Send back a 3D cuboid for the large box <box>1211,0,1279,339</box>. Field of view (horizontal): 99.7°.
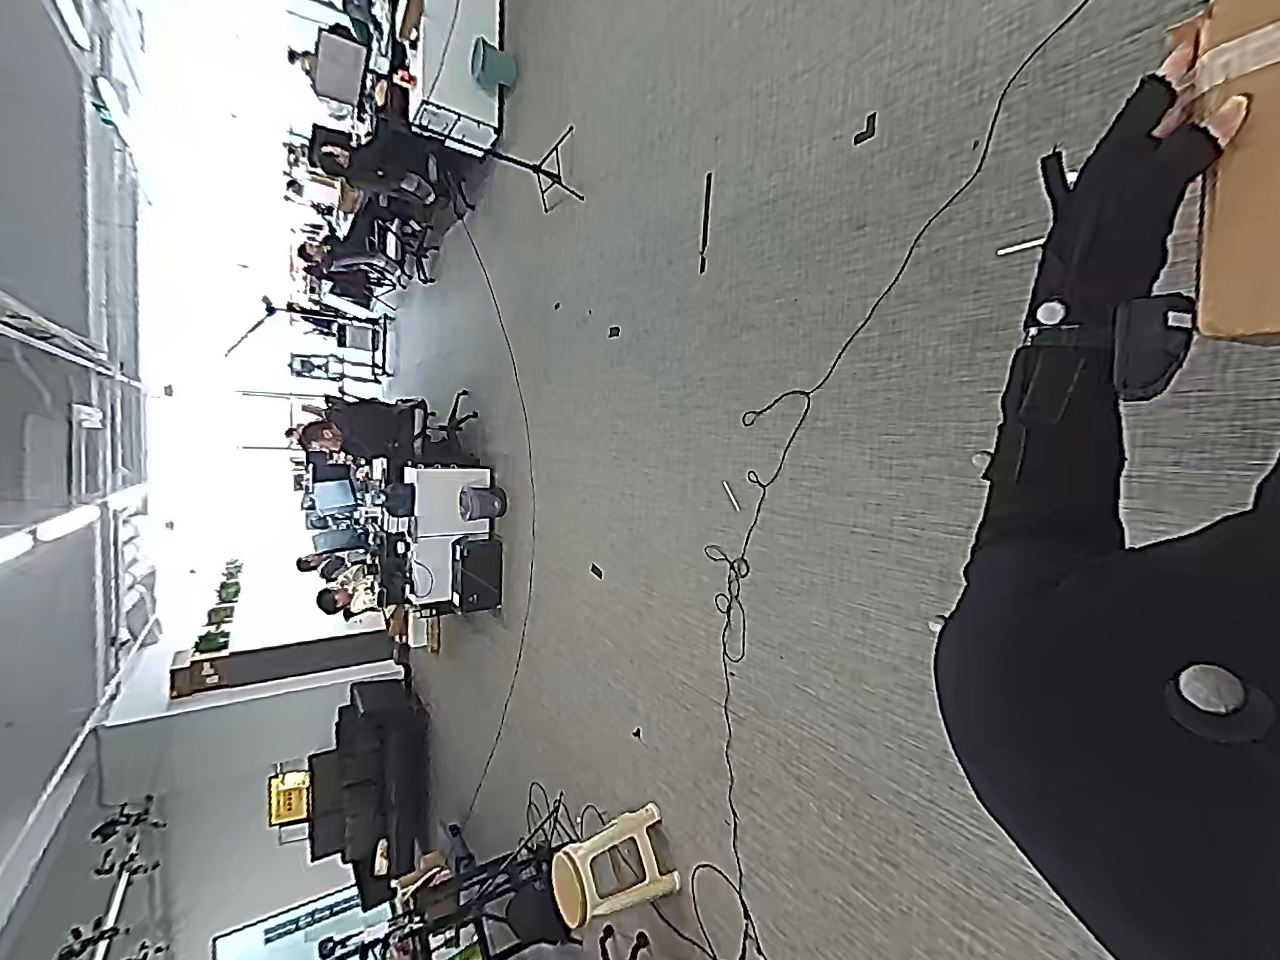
[{"bbox_3d":[0.578,-0.257,0.252,0.408,0.320,0.320,5,102,52],"label":"large box"}]
